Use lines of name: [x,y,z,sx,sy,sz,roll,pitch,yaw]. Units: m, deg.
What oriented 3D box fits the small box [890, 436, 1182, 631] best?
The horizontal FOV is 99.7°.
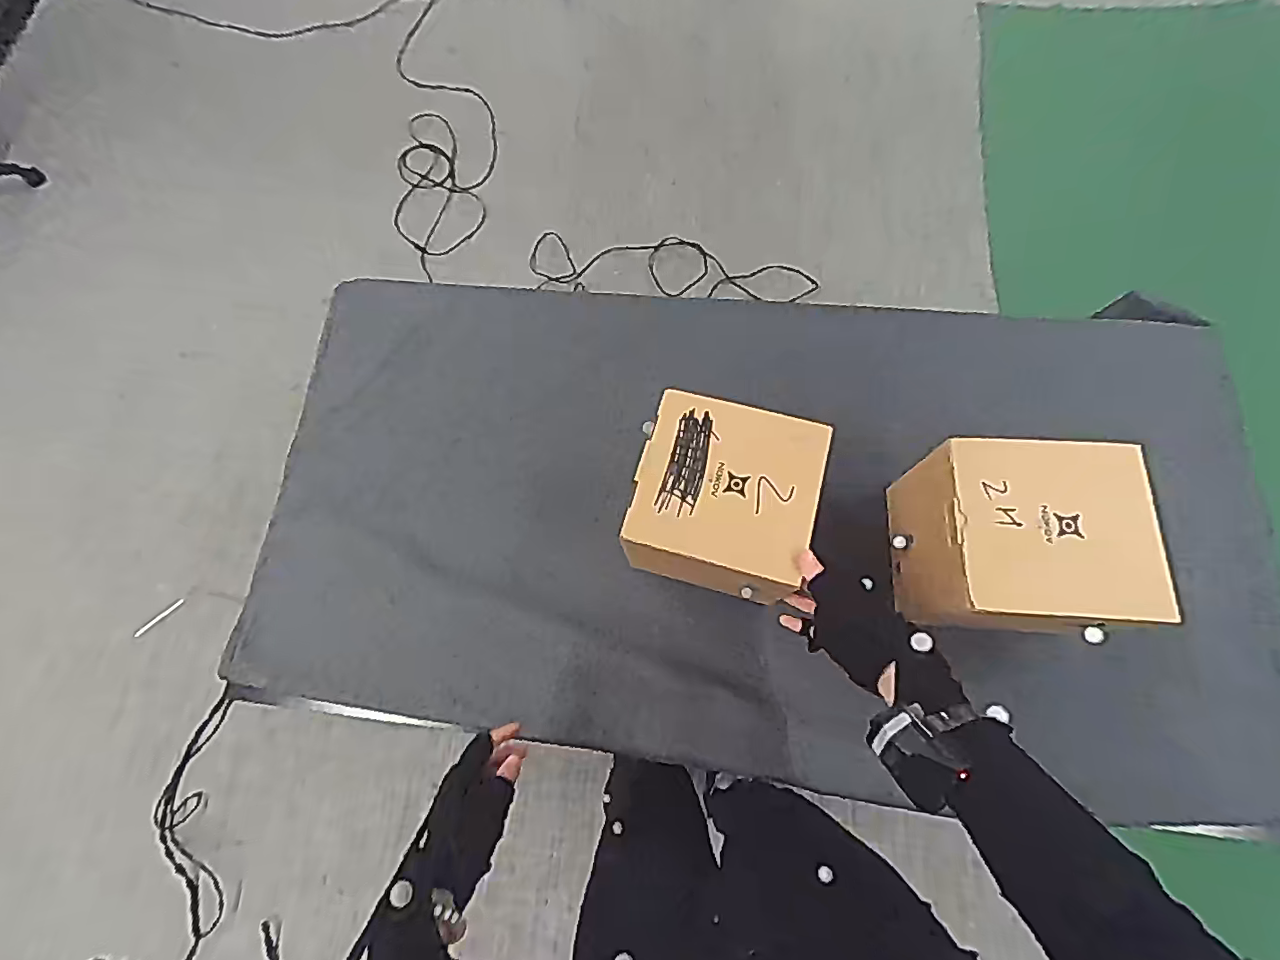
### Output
small box: [0.385,0.065,0.564,0.179,0.176,0.168,3,71,5]
